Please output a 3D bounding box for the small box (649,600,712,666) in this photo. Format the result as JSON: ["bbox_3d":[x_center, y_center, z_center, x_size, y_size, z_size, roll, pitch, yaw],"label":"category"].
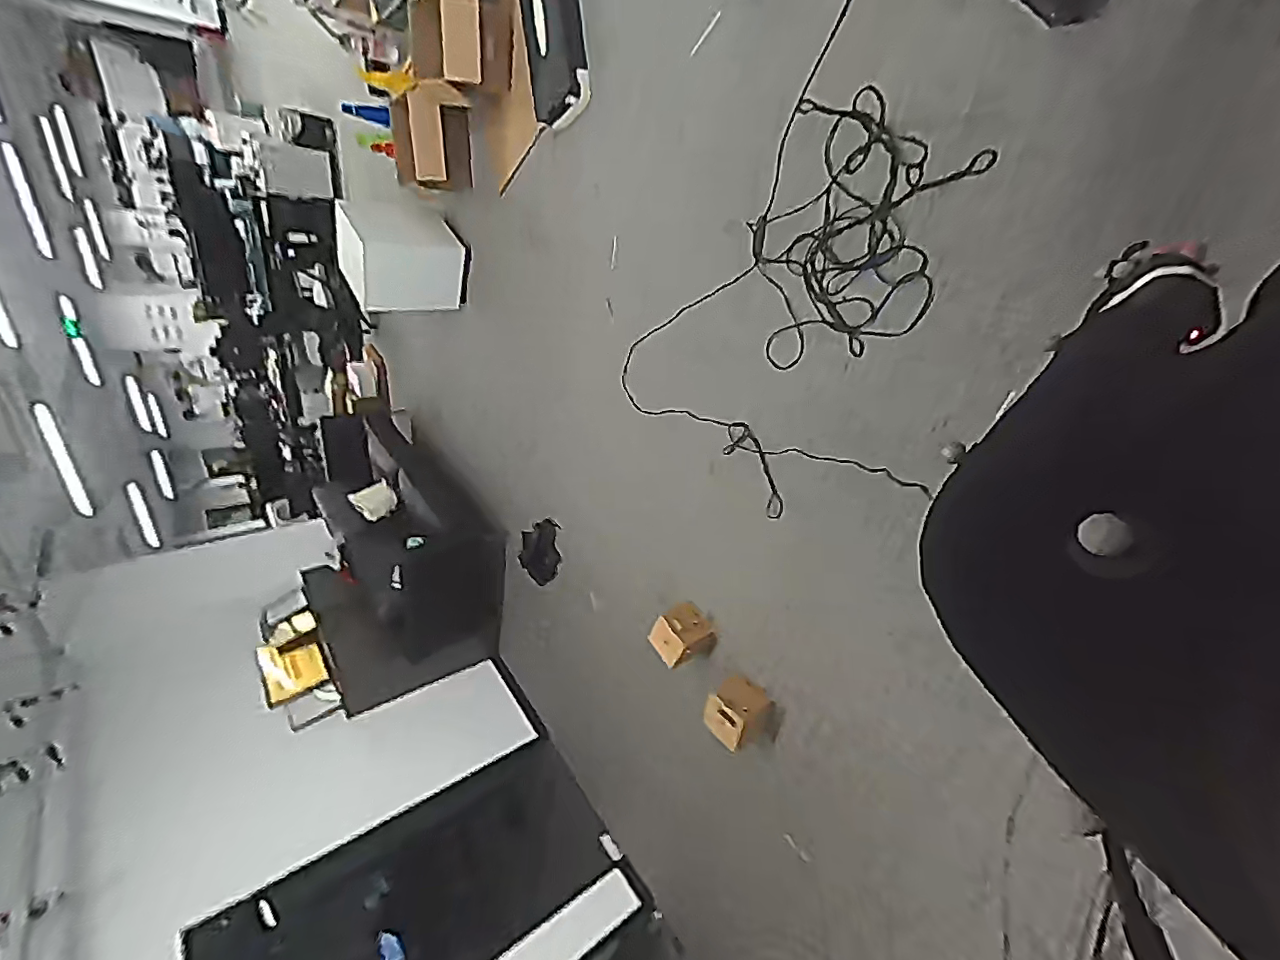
[{"bbox_3d":[0.166,0.620,2.203,0.168,0.176,0.179,50,136,31],"label":"small box"}]
